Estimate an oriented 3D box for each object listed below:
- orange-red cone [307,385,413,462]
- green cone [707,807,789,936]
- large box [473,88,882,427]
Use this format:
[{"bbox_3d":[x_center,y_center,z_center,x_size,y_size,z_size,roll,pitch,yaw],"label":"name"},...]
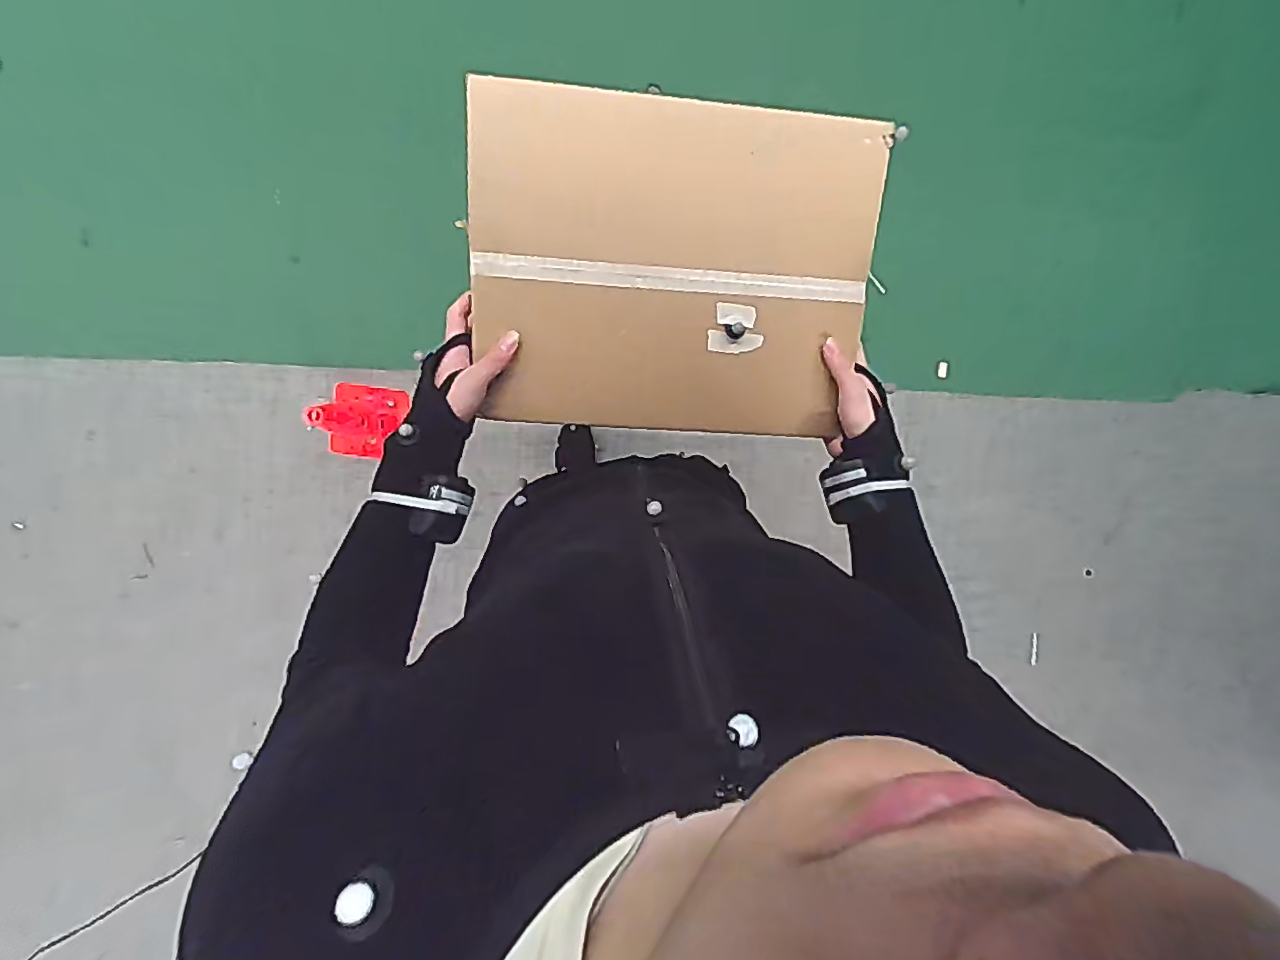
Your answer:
[{"bbox_3d":[-0.725,-0.147,1.340,0.199,0.360,0.198,8,92,-7],"label":"orange-red cone"},{"bbox_3d":[0.351,1.175,1.595,0.200,0.368,0.202,6,92,-9],"label":"green cone"},{"bbox_3d":[0.022,-0.252,0.698,0.408,0.320,0.320,2,108,-6],"label":"large box"}]
